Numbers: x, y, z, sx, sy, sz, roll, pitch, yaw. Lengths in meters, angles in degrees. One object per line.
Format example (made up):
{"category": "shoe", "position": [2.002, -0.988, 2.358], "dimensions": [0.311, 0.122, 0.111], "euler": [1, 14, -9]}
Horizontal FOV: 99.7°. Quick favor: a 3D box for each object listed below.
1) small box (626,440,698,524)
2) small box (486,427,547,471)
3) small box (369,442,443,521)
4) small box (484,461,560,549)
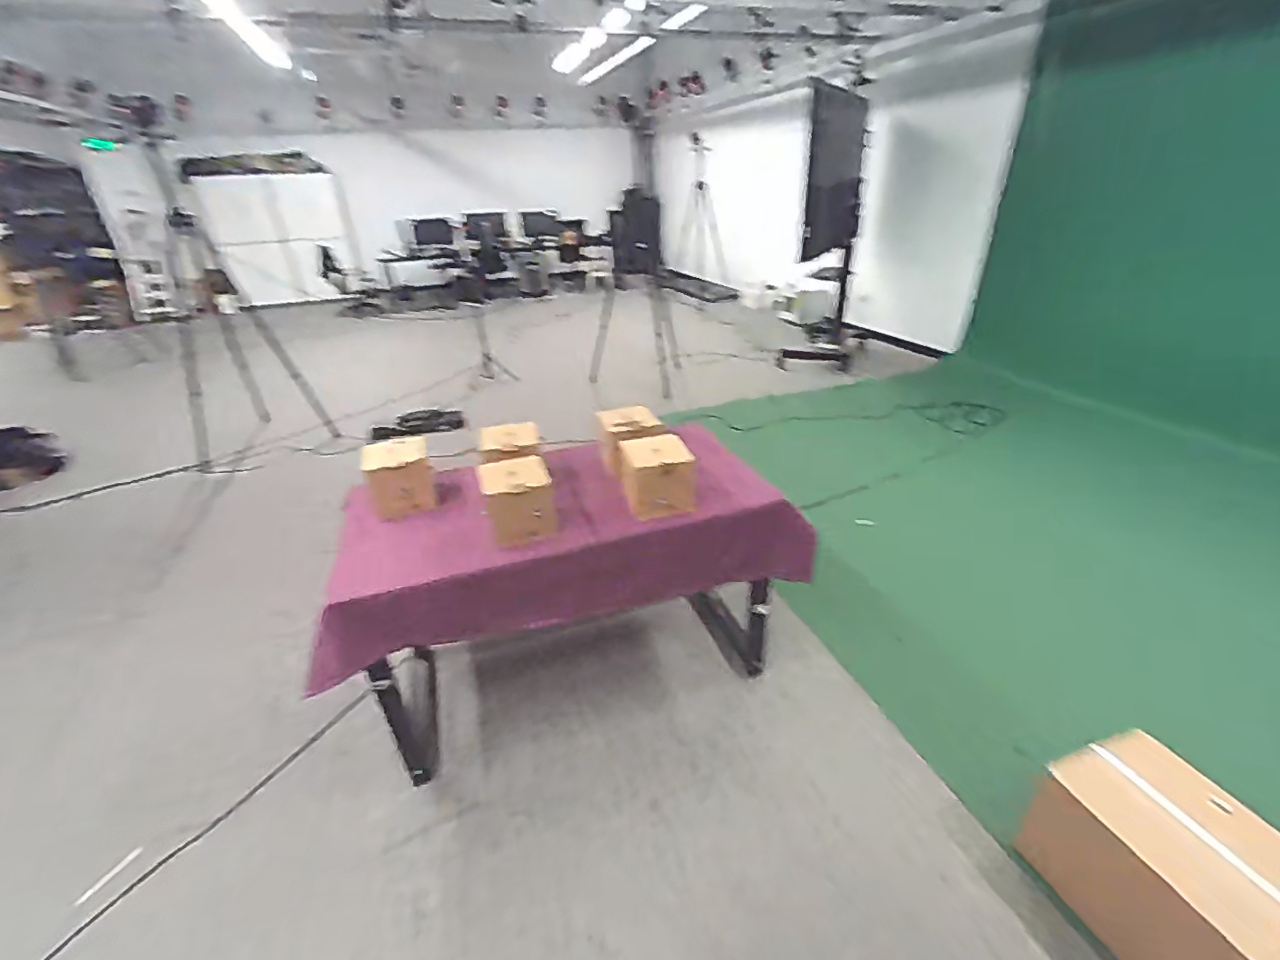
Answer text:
{"category": "small box", "position": [0.058, 0.003, 1.534], "dimensions": [0.168, 0.176, 0.179], "euler": [-9, 29, -11]}
{"category": "small box", "position": [-0.375, -0.047, 1.671], "dimensions": [0.168, 0.176, 0.179], "euler": [-9, 29, -9]}
{"category": "small box", "position": [-0.689, 0.009, 1.600], "dimensions": [0.168, 0.176, 0.179], "euler": [-13, 31, -19]}
{"category": "small box", "position": [-0.316, 0.071, 1.450], "dimensions": [0.168, 0.176, 0.179], "euler": [-11, 28, -15]}
